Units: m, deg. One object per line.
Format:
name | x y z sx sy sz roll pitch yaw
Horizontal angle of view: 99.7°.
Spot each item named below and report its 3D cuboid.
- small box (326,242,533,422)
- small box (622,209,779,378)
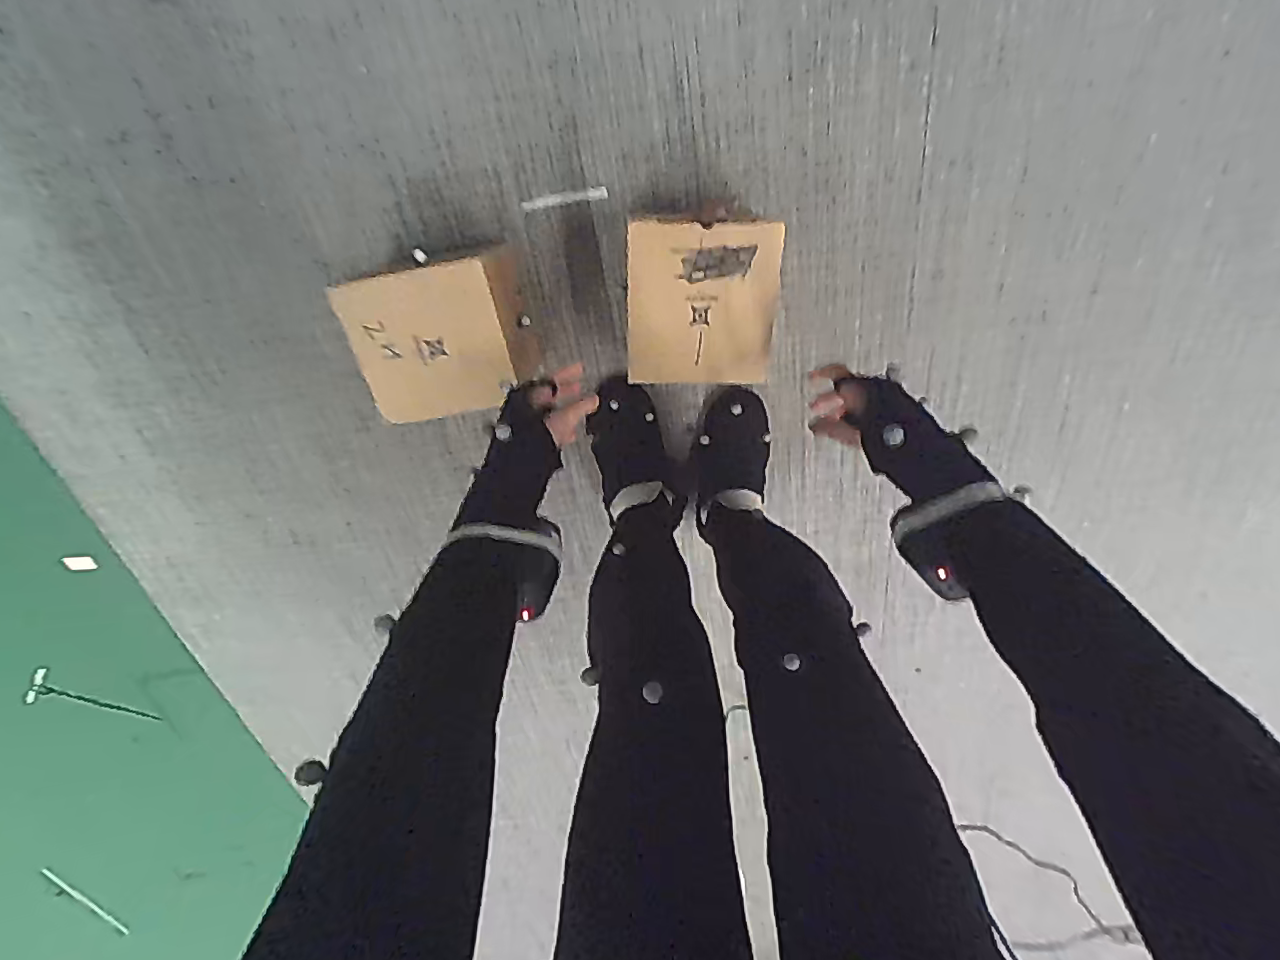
small box | -0.242 -0.192 0.680 0.179 0.176 0.168 -9 119 4
small box | 0.061 -0.235 0.668 0.168 0.176 0.179 -1 120 -1
